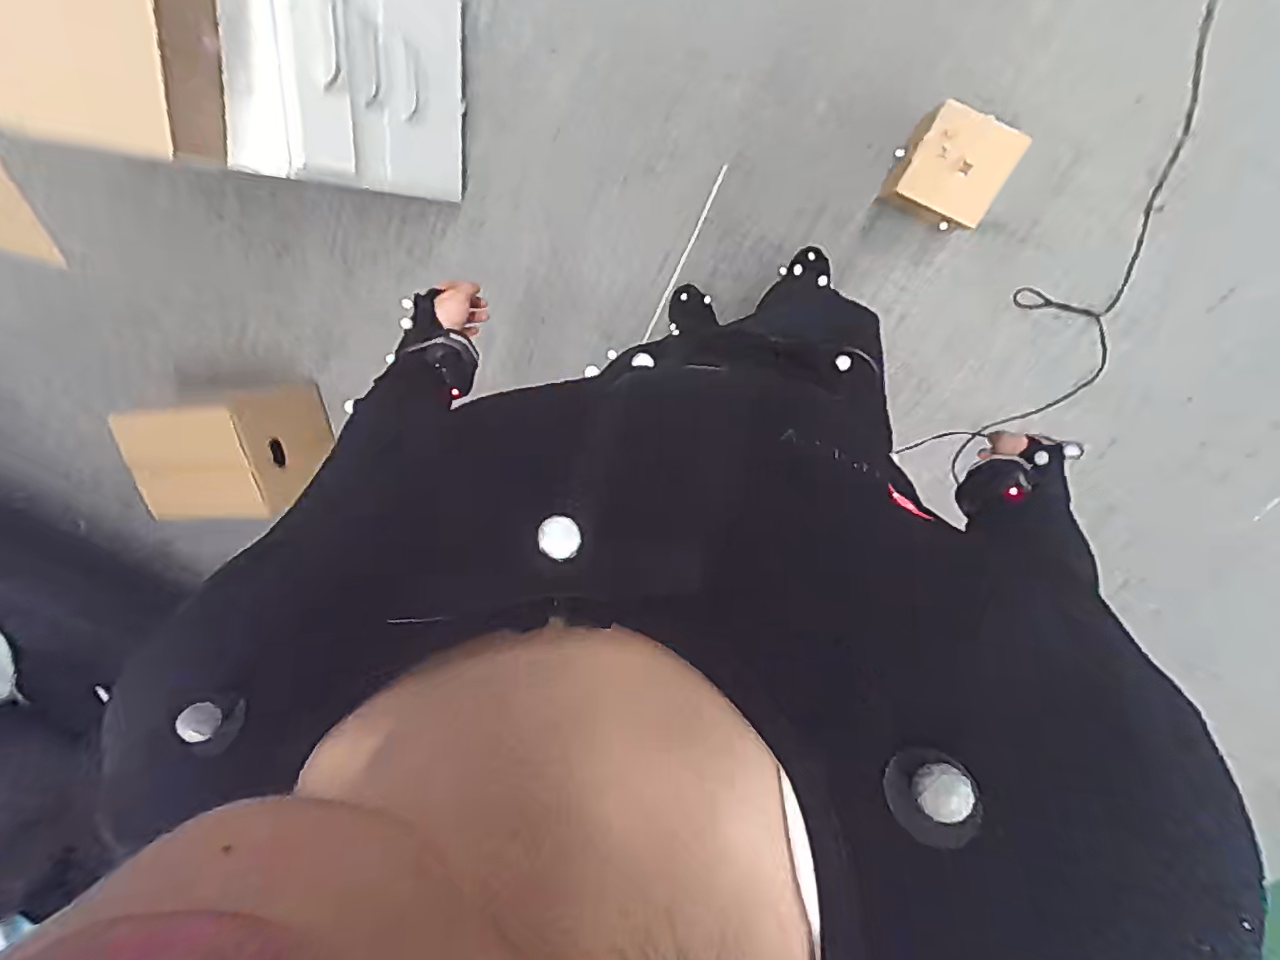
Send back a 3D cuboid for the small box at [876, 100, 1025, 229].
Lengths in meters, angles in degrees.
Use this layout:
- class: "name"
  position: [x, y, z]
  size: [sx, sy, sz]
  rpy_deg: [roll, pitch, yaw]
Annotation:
- class: "small box"
  position: [0.611, -0.625, 1.090]
  size: [0.179, 0.176, 0.168]
  rpy_deg: [25, 115, 0]
